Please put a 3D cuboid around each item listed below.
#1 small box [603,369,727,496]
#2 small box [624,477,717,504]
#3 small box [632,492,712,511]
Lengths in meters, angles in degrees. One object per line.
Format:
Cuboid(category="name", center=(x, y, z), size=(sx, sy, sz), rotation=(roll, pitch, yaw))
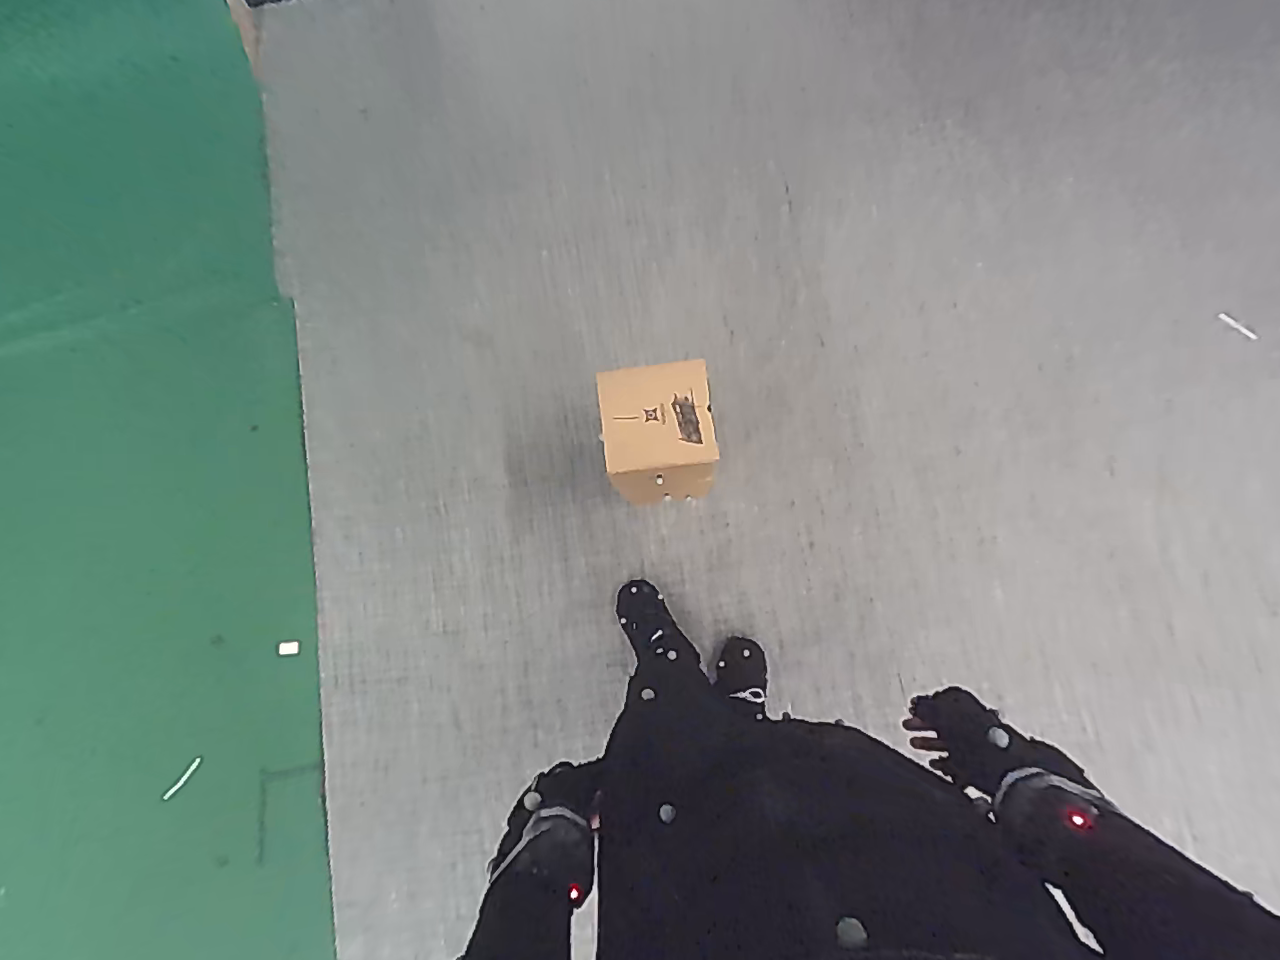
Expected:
Cuboid(category="small box", center=(0.039, -0.073, 0.918), size=(0.179, 0.176, 0.168), rotation=(-9, 81, 1))
Cuboid(category="small box", center=(0.053, -0.046, 1.080), size=(0.179, 0.176, 0.168), rotation=(-5, 81, 2))
Cuboid(category="small box", center=(0.064, -0.027, 1.243), size=(0.179, 0.176, 0.168), rotation=(-9, 80, 4))
